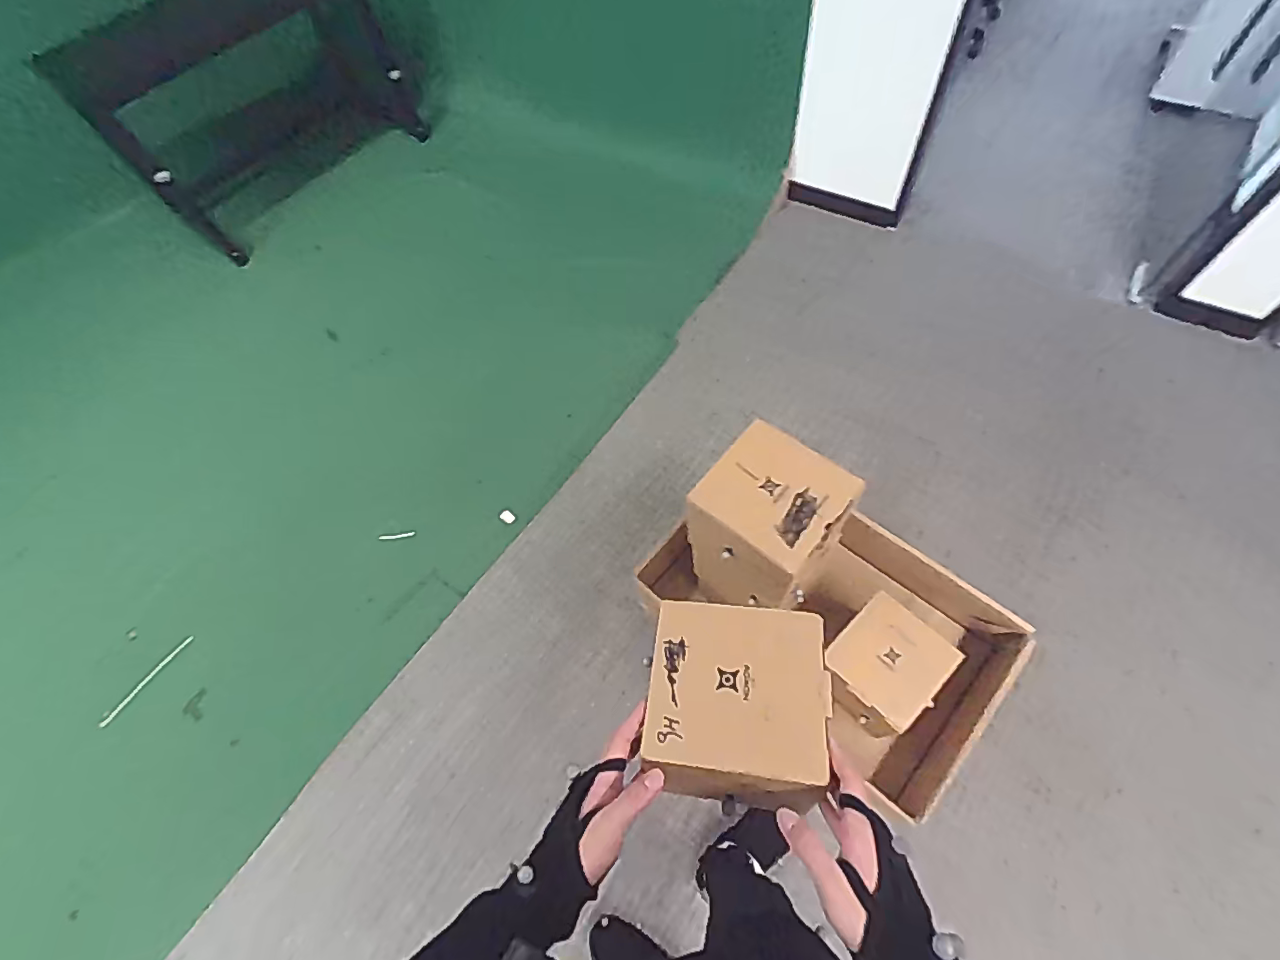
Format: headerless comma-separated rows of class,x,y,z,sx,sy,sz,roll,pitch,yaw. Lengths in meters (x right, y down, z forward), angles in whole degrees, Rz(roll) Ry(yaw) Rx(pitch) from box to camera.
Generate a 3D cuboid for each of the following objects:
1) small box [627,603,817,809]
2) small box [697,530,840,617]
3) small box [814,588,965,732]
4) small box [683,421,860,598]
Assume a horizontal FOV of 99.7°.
small box,0.093,0.257,0.607,0.179,0.176,0.168,3,52,10
small box,0.211,0.126,0.938,0.179,0.176,0.168,39,74,23
small box,0.436,0.332,0.979,0.179,0.176,0.168,-42,65,-13
small box,0.185,0.053,0.793,0.179,0.176,0.168,37,73,23
